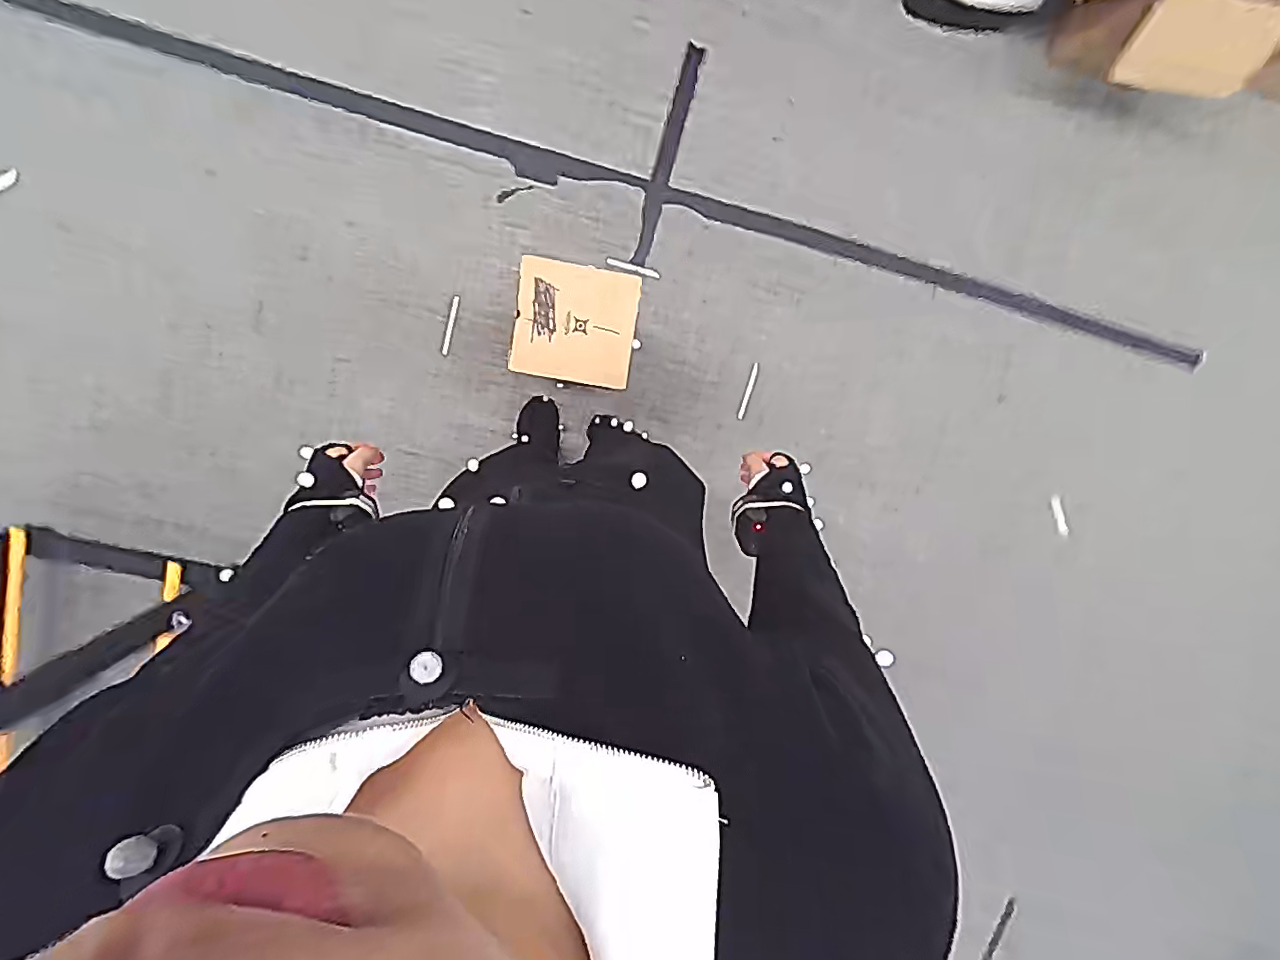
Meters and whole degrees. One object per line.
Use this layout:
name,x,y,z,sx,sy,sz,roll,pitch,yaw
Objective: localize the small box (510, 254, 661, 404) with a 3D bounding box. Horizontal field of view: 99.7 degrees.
small box,-0.077,-0.207,0.778,0.179,0.176,0.168,9,101,-6
